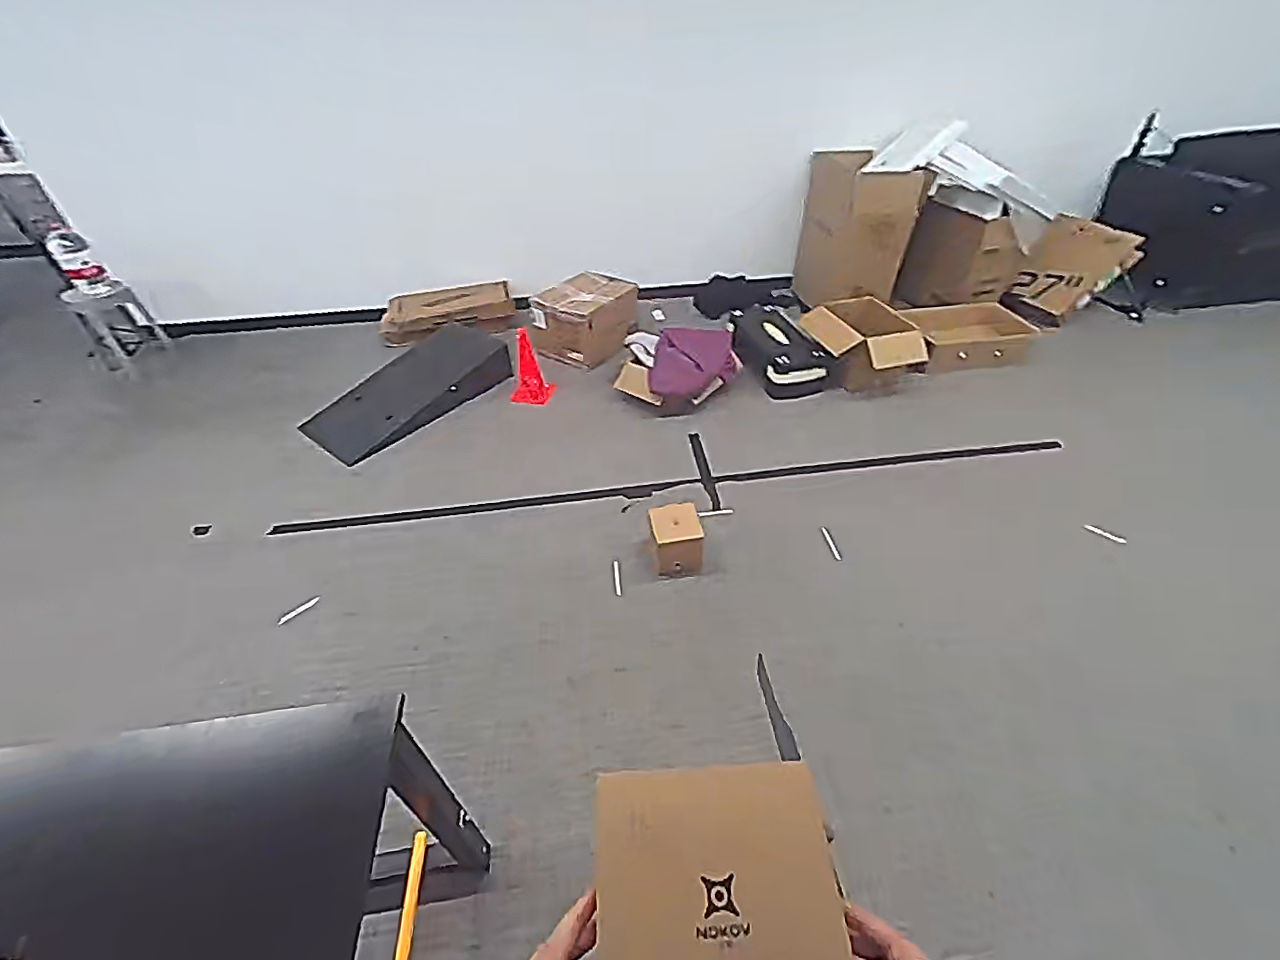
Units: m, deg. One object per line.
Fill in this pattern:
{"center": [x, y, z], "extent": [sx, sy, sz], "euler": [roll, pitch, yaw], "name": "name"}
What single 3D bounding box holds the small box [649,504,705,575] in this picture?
{"center": [0.129, 0.212, 1.930], "extent": [0.168, 0.176, 0.179], "euler": [-10, 43, -6], "name": "small box"}
